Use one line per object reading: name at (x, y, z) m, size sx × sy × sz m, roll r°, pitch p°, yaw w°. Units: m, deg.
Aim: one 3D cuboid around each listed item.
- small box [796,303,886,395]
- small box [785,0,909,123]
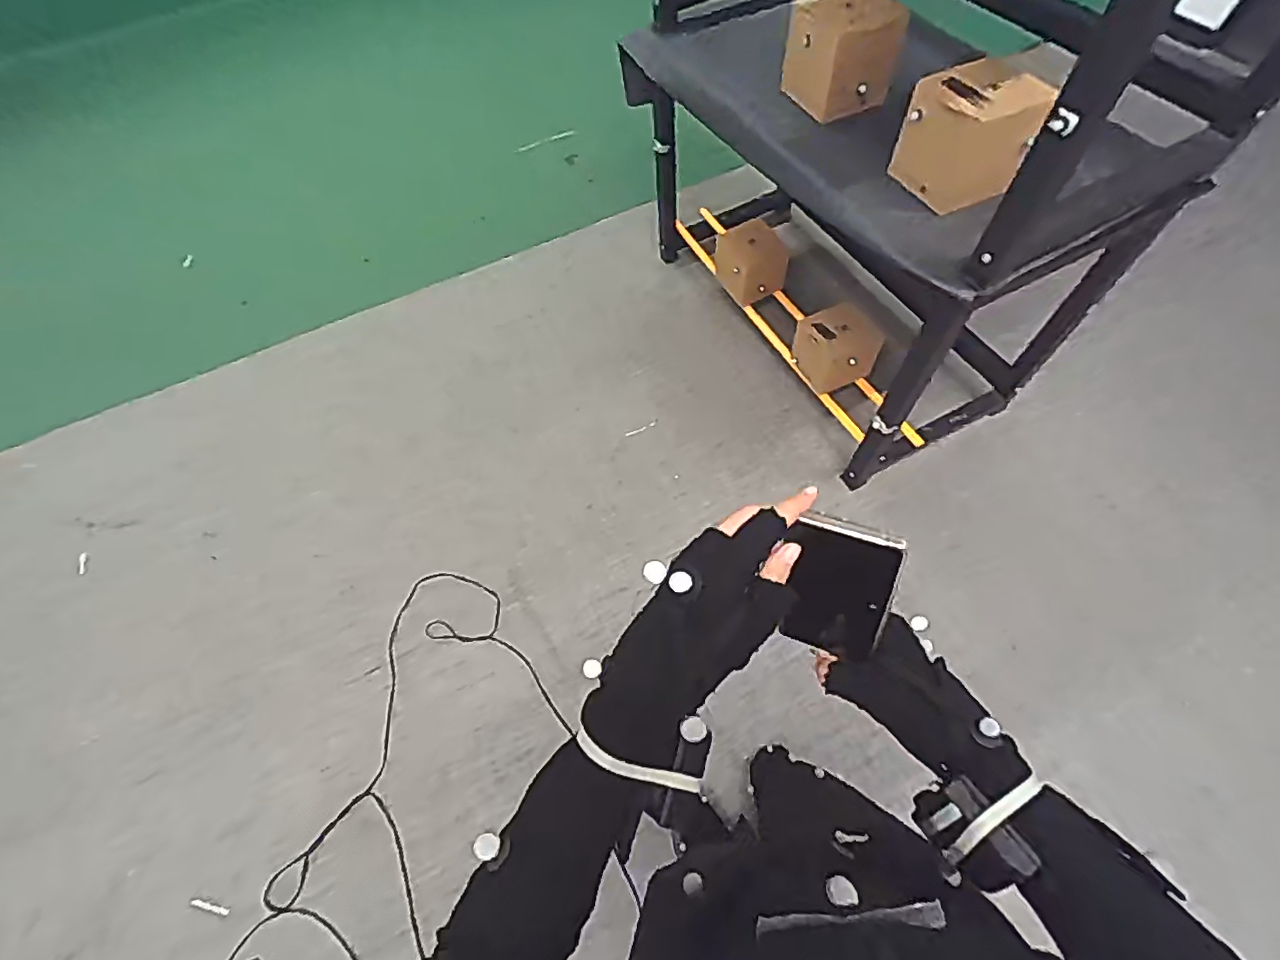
small box at (0.572, -0.376, 1.574) m, size 0.179 × 0.176 × 0.168 m, roll -23°, pitch 62°, yaw -7°
small box at (0.434, -0.915, 1.171) m, size 0.168 × 0.176 × 0.179 m, roll -23°, pitch 62°, yaw -8°
